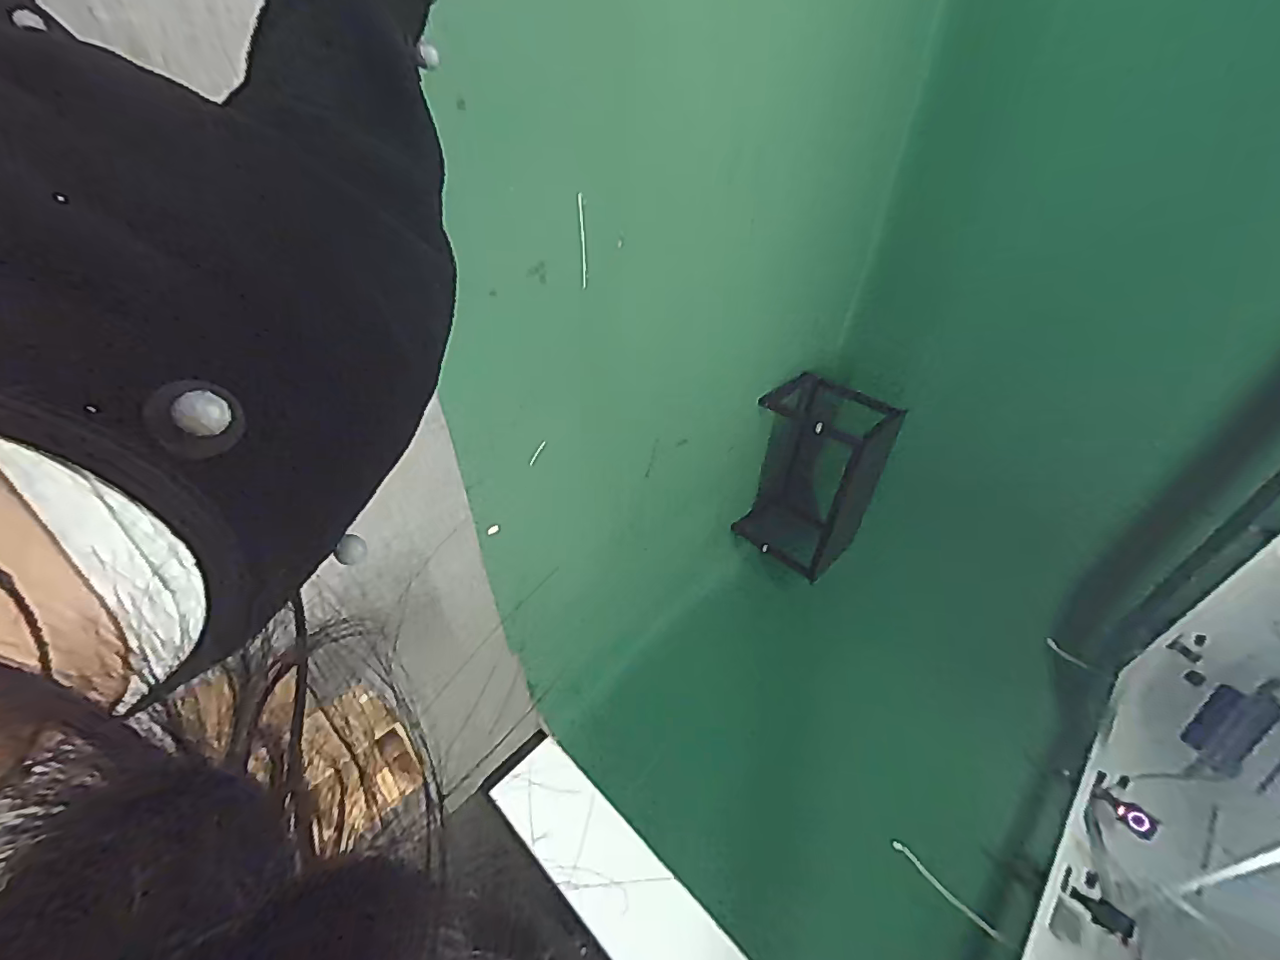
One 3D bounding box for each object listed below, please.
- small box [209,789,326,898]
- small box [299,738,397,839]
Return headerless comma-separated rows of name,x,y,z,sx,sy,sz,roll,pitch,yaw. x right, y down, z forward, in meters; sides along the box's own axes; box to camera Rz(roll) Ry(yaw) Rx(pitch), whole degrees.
small box,-0.992,0.962,1.438,0.168,0.176,0.179,-42,146,-25
small box,-0.852,0.896,1.581,0.168,0.176,0.179,-38,144,-32
